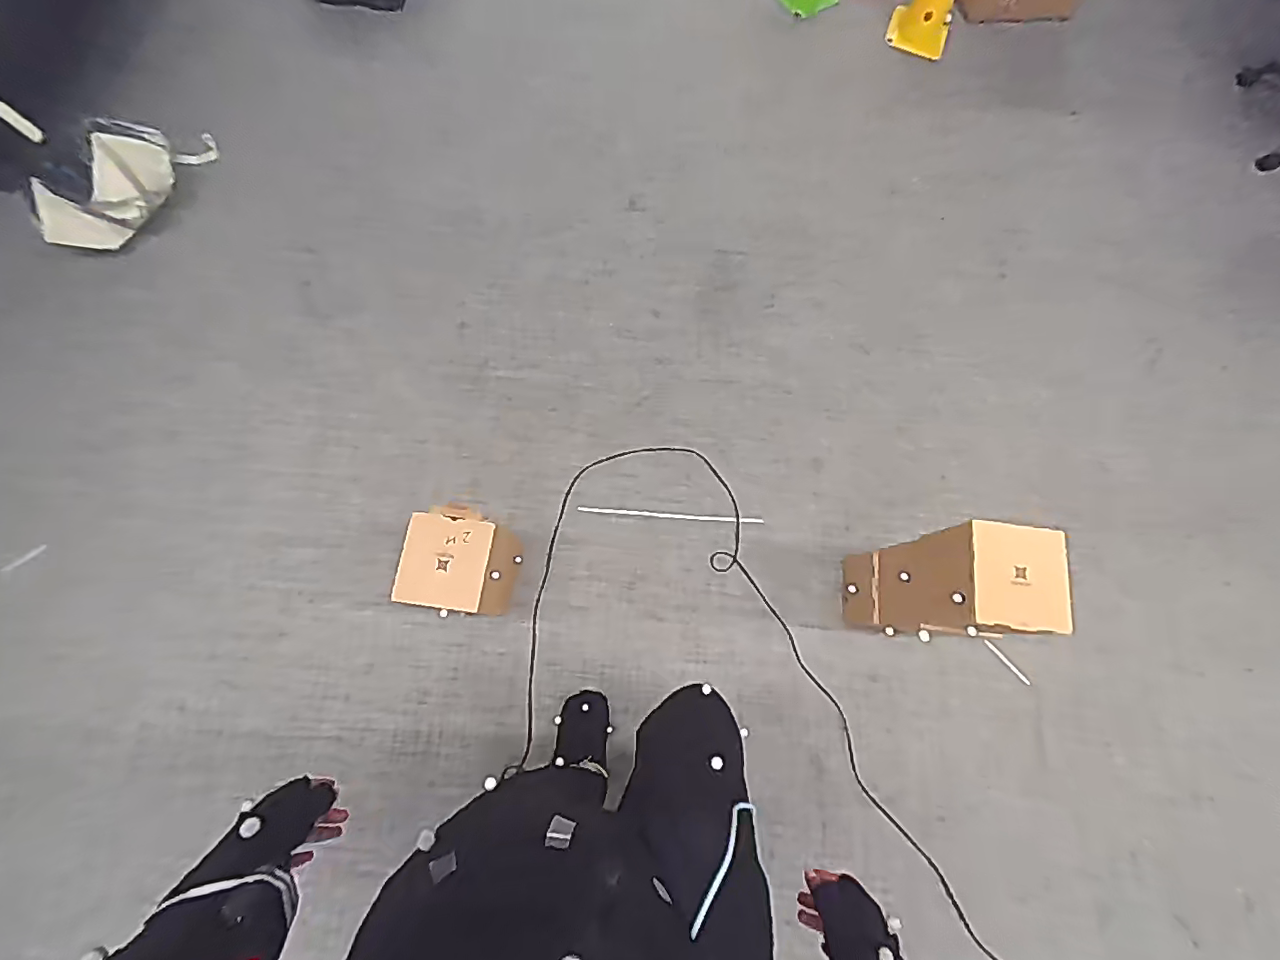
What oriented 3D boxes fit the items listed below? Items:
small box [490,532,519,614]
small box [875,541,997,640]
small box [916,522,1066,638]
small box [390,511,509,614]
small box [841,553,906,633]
[{"bbox_3d":[-0.386,0.207,1.249,0.168,0.176,0.179,11,75,0],"label":"small box"},{"bbox_3d":[0.614,0.235,1.137,0.168,0.176,0.179,8,76,-2],"label":"small box"},{"bbox_3d":[0.624,0.185,0.983,0.168,0.176,0.179,8,76,-2],"label":"small box"},{"bbox_3d":[-0.377,0.175,1.106,0.168,0.176,0.179,9,74,0],"label":"small box"},{"bbox_3d":[0.597,0.275,1.296,0.179,0.176,0.168,7,75,-1],"label":"small box"}]
